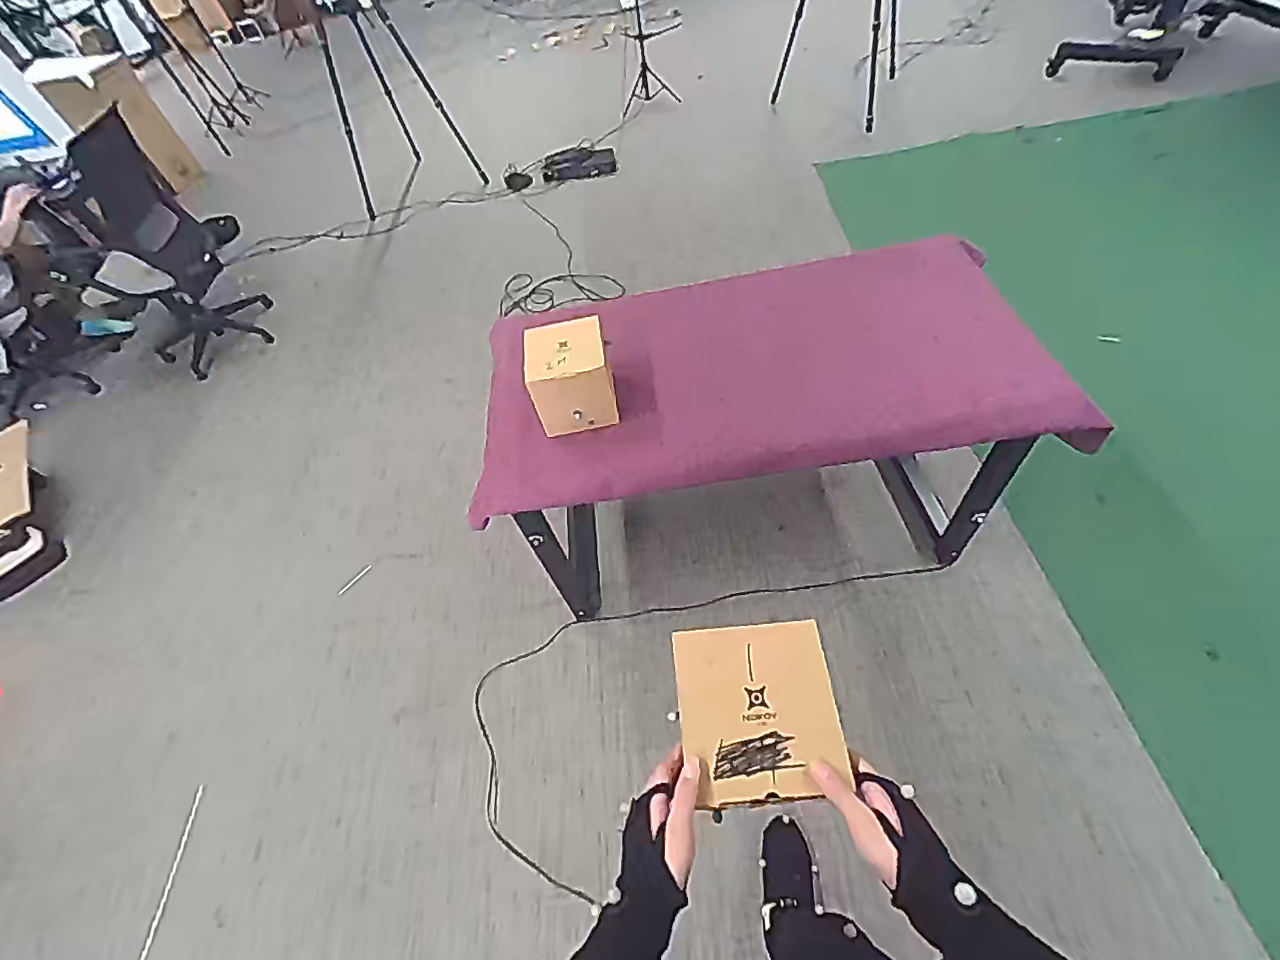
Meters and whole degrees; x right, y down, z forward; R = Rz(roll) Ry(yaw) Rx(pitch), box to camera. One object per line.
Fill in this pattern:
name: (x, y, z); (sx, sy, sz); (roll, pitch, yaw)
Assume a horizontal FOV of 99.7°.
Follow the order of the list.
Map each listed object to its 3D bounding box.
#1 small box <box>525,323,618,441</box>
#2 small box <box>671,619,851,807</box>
small box: (-0.148, -0.213, 1.188); (0.168, 0.176, 0.179); (-11, 52, 2)
small box: (0.128, 0.280, 0.636); (0.168, 0.176, 0.179); (-6, 57, 2)
